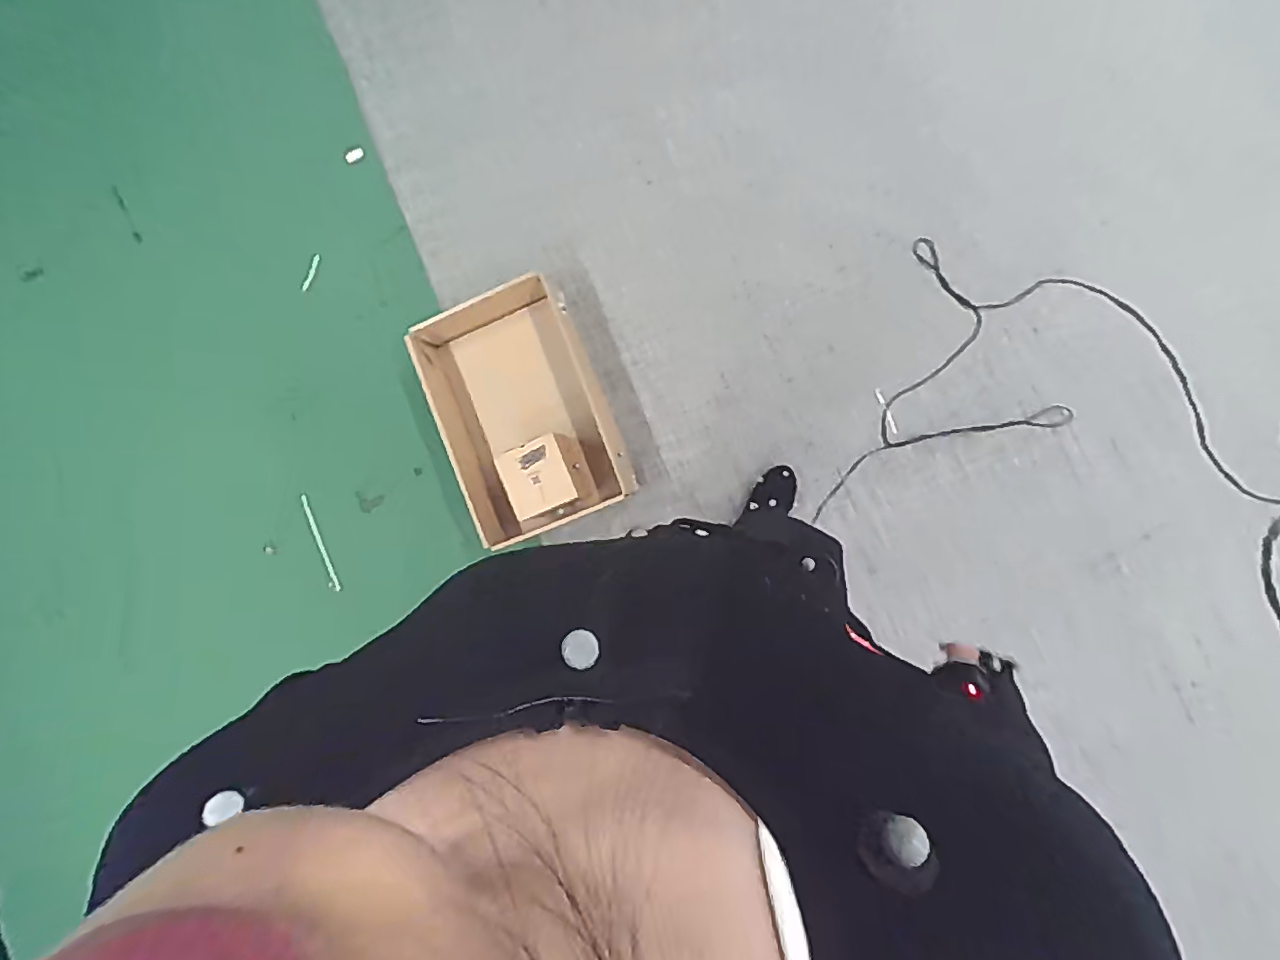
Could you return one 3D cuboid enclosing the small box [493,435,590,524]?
[{"bbox_3d":[-0.247,0.000,1.388,0.168,0.176,0.179,-23,87,7],"label":"small box"}]
